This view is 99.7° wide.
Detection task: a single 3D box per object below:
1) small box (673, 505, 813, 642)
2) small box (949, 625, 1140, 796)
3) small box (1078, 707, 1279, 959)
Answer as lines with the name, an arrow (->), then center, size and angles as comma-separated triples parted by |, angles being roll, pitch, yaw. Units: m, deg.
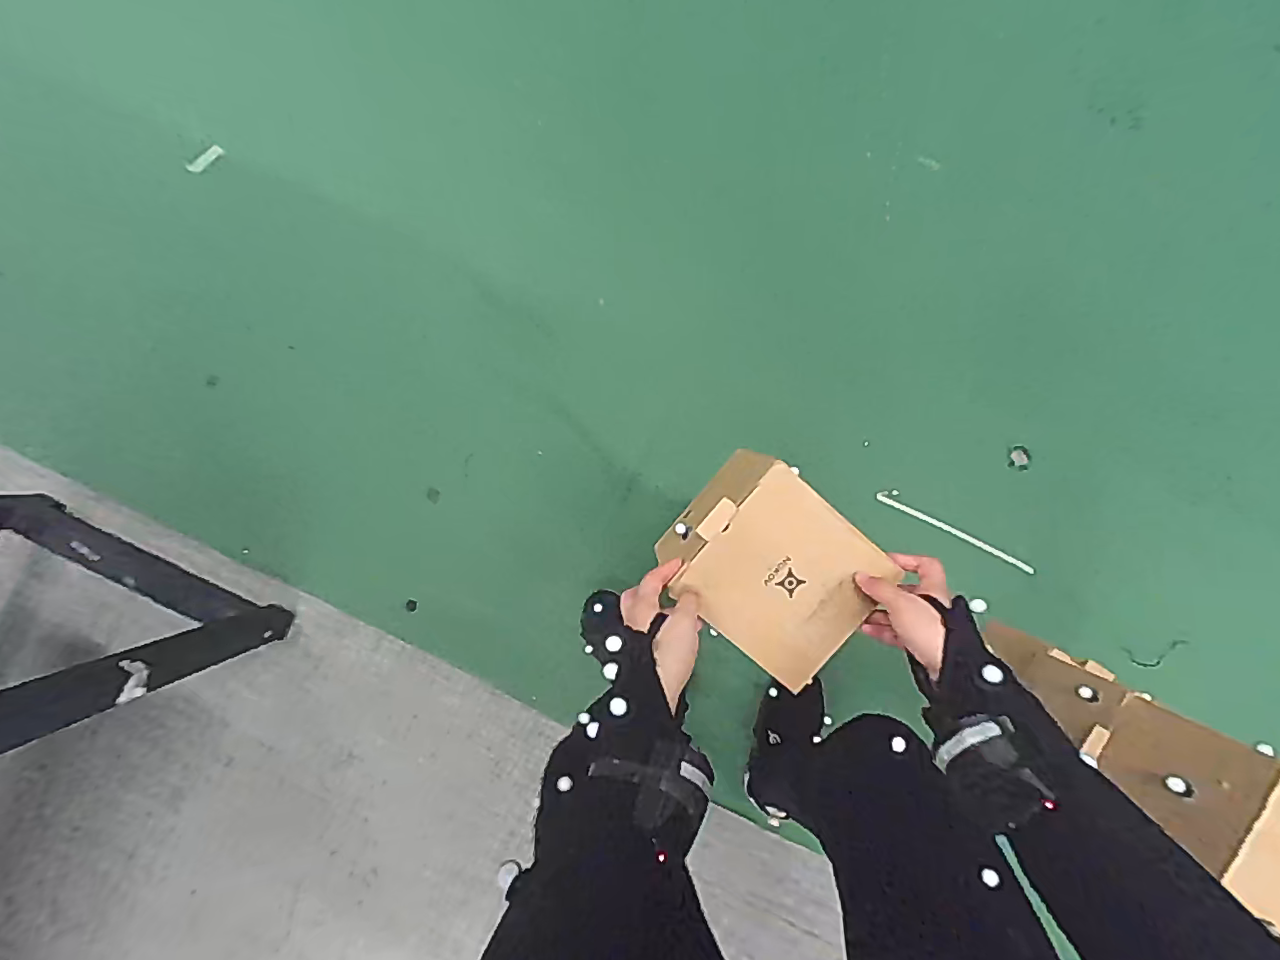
small box -> 0.167, 0.152, 0.941 | 0.179, 0.176, 0.168 | 25, 92, 2
small box -> 0.671, 0.381, 0.924 | 0.168, 0.176, 0.179 | 34, 91, 2
small box -> 0.647, 0.387, 0.595 | 0.168, 0.176, 0.179 | 30, 90, 0
